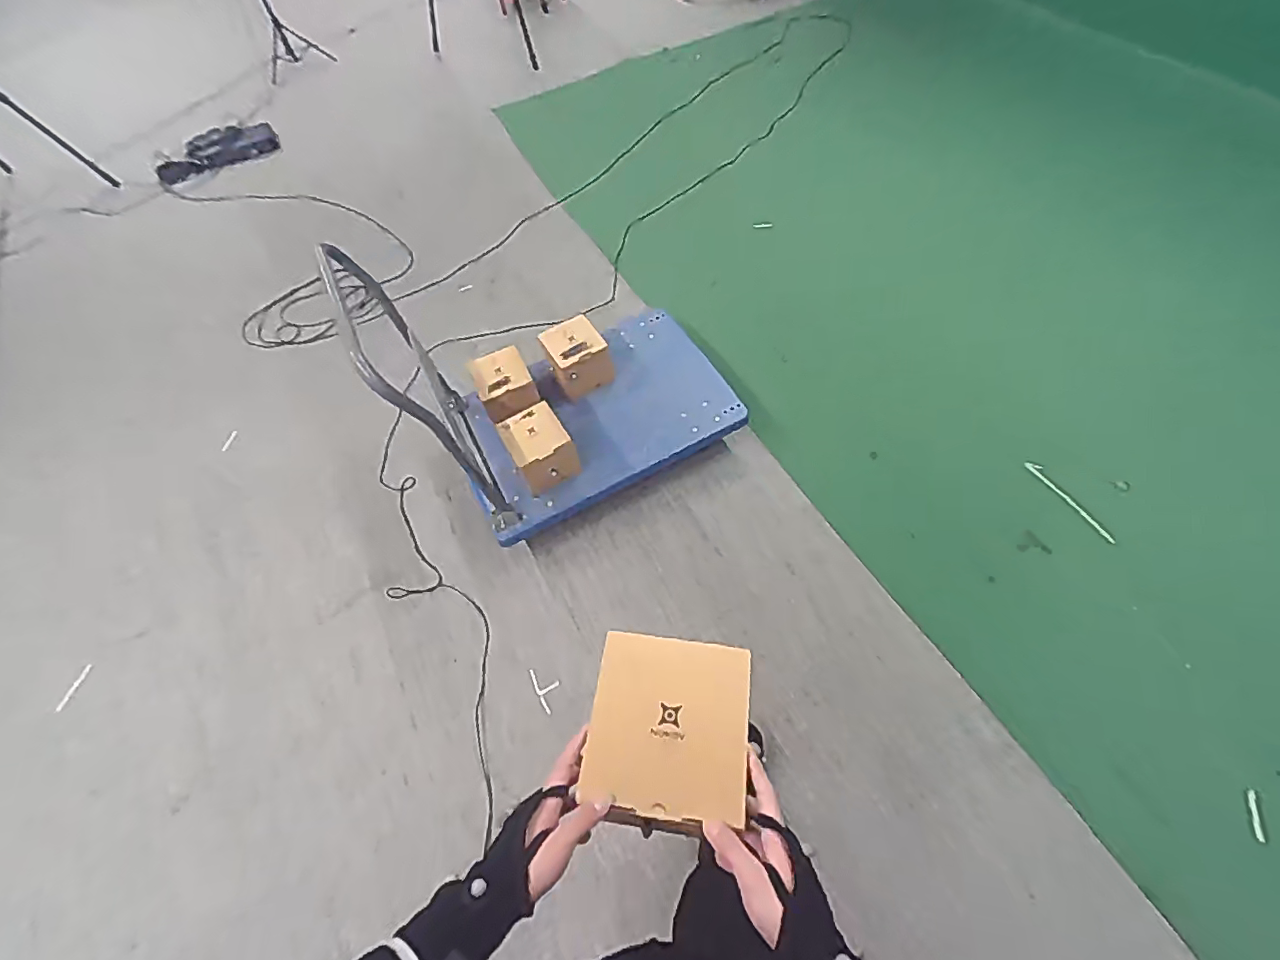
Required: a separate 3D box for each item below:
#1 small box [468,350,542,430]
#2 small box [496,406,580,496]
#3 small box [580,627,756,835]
[{"bbox_3d":[-0.416,-0.269,1.705,0.168,0.176,0.179,-24,60,-9],"label":"small box"},{"bbox_3d":[-0.291,-0.076,1.578,0.168,0.176,0.179,-29,62,-12],"label":"small box"},{"bbox_3d":[0.035,0.294,0.628,0.168,0.176,0.179,7,56,6],"label":"small box"}]
